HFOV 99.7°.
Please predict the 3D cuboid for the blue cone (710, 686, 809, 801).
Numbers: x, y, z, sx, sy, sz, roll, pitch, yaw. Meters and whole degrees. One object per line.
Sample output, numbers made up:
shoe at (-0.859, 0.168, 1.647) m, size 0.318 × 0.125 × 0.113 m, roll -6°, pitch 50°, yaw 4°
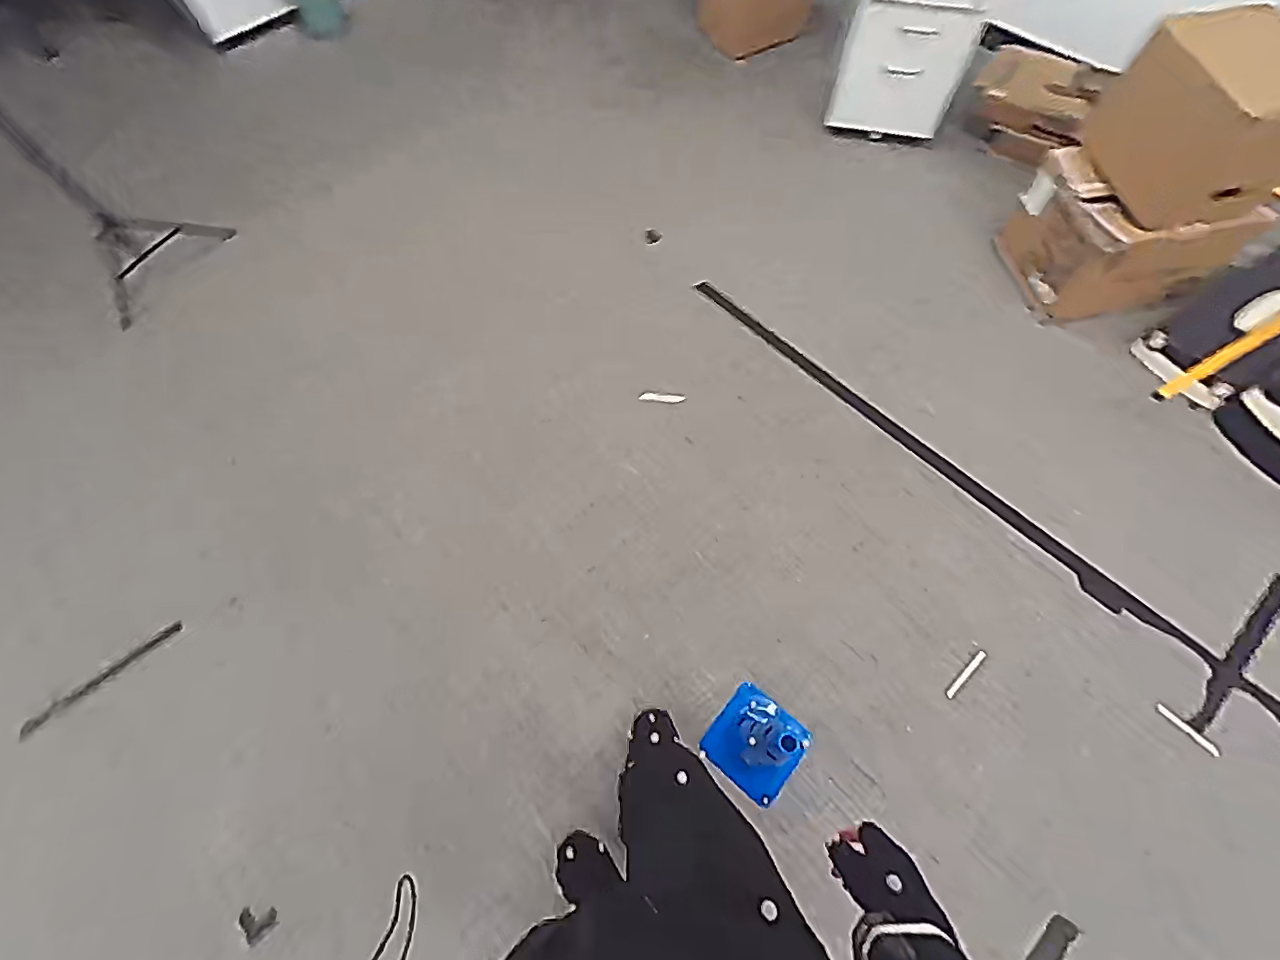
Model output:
blue cone at (0.271, 0.533, 1.101) m, size 0.192 × 0.380 × 0.193 m, roll 39°, pitch 72°, yaw 17°
